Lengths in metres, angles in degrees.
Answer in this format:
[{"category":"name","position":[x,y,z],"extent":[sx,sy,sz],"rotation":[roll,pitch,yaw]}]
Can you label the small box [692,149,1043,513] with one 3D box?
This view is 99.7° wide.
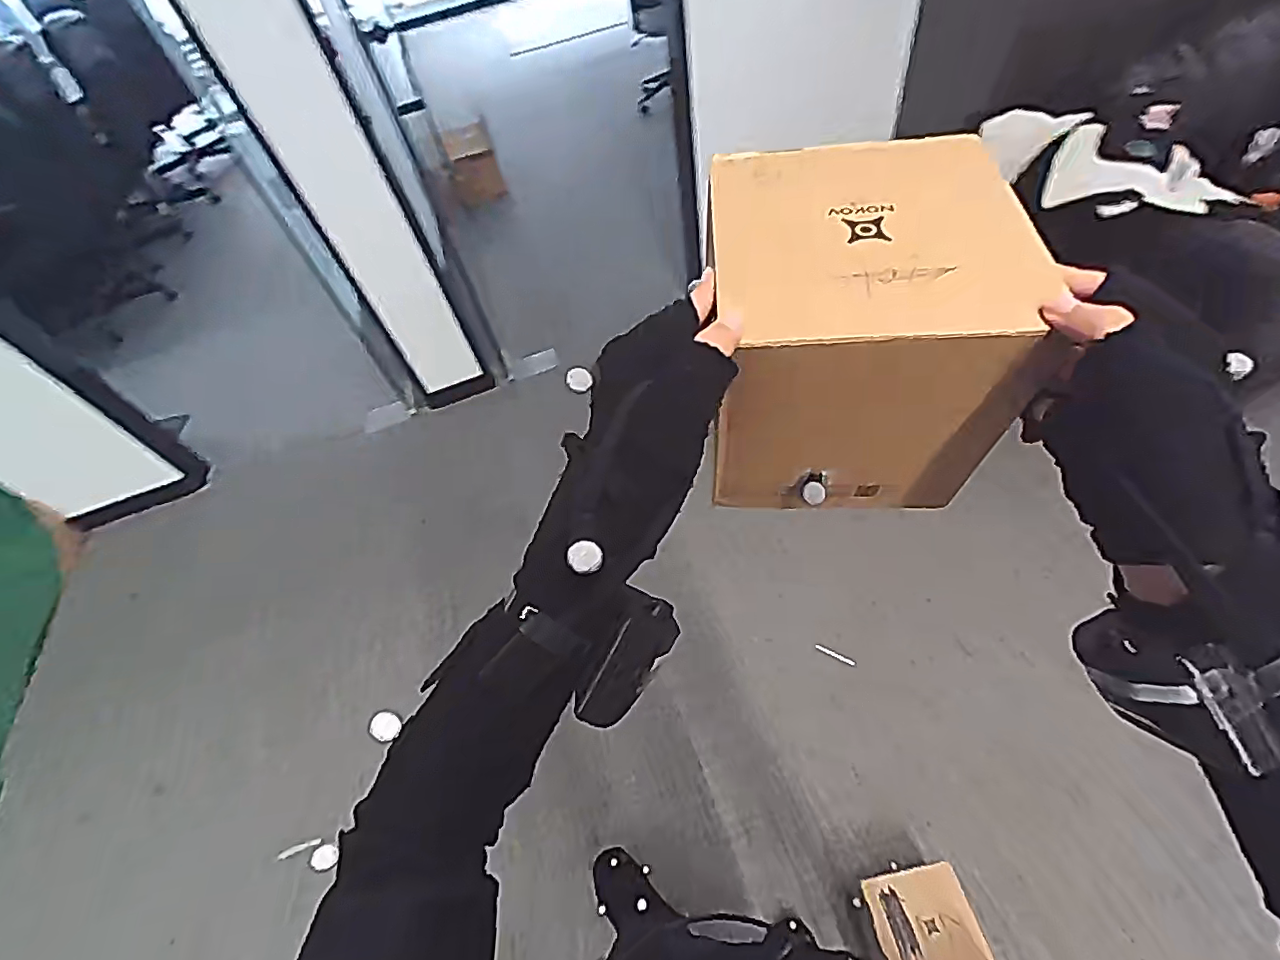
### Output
[{"category":"small box","position":[0.120,-0.094,0.373],"extent":[0.168,0.176,0.179],"rotation":[-1,58,6]}]
